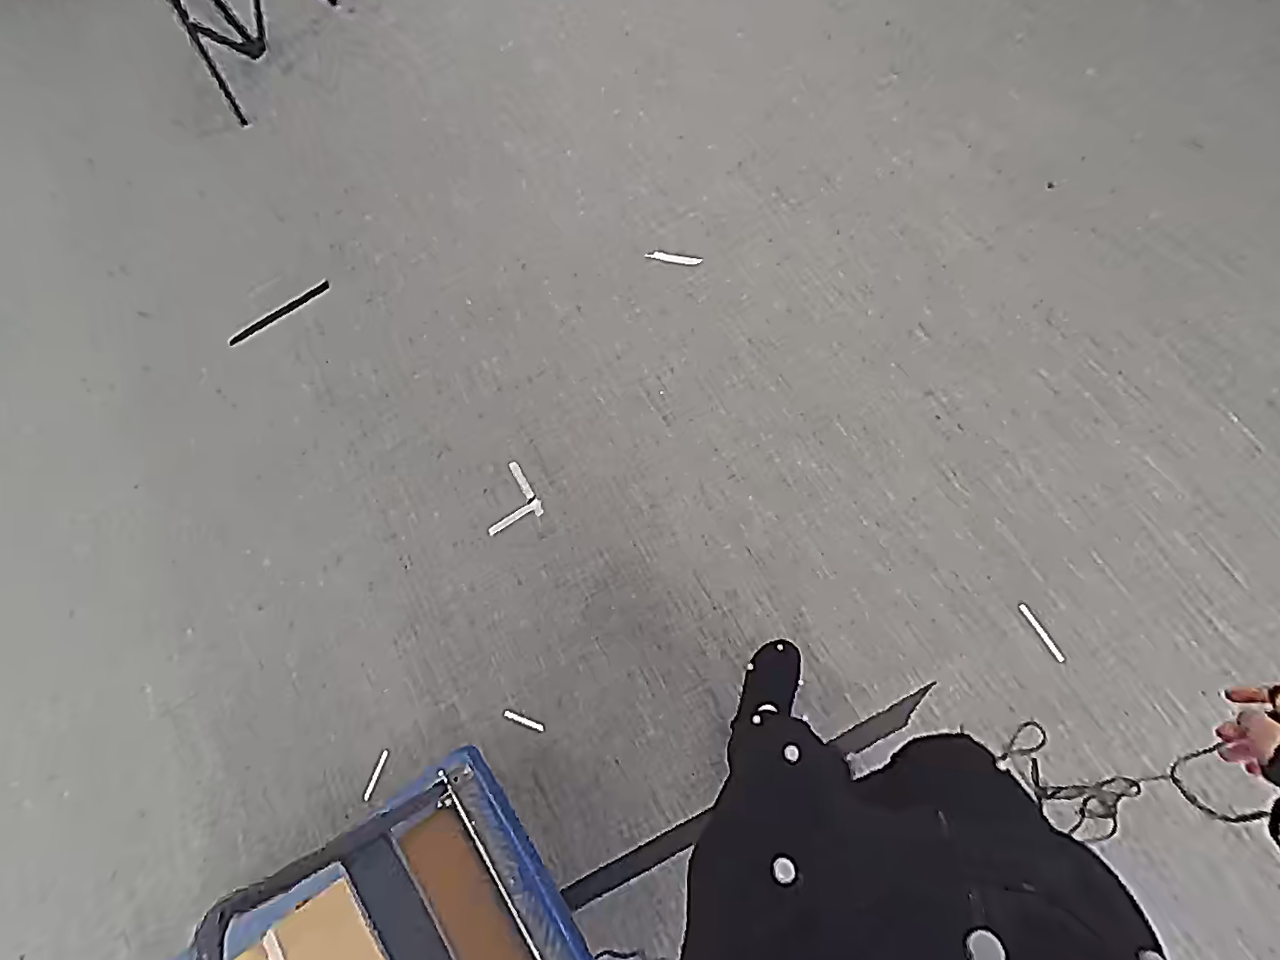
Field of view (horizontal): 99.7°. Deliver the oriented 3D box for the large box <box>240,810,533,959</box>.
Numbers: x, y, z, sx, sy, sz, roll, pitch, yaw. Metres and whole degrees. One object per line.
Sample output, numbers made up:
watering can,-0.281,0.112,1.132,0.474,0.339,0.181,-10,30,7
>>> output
large box,-0.423,0.894,0.938,0.320,0.320,0.408,-37,73,-3
